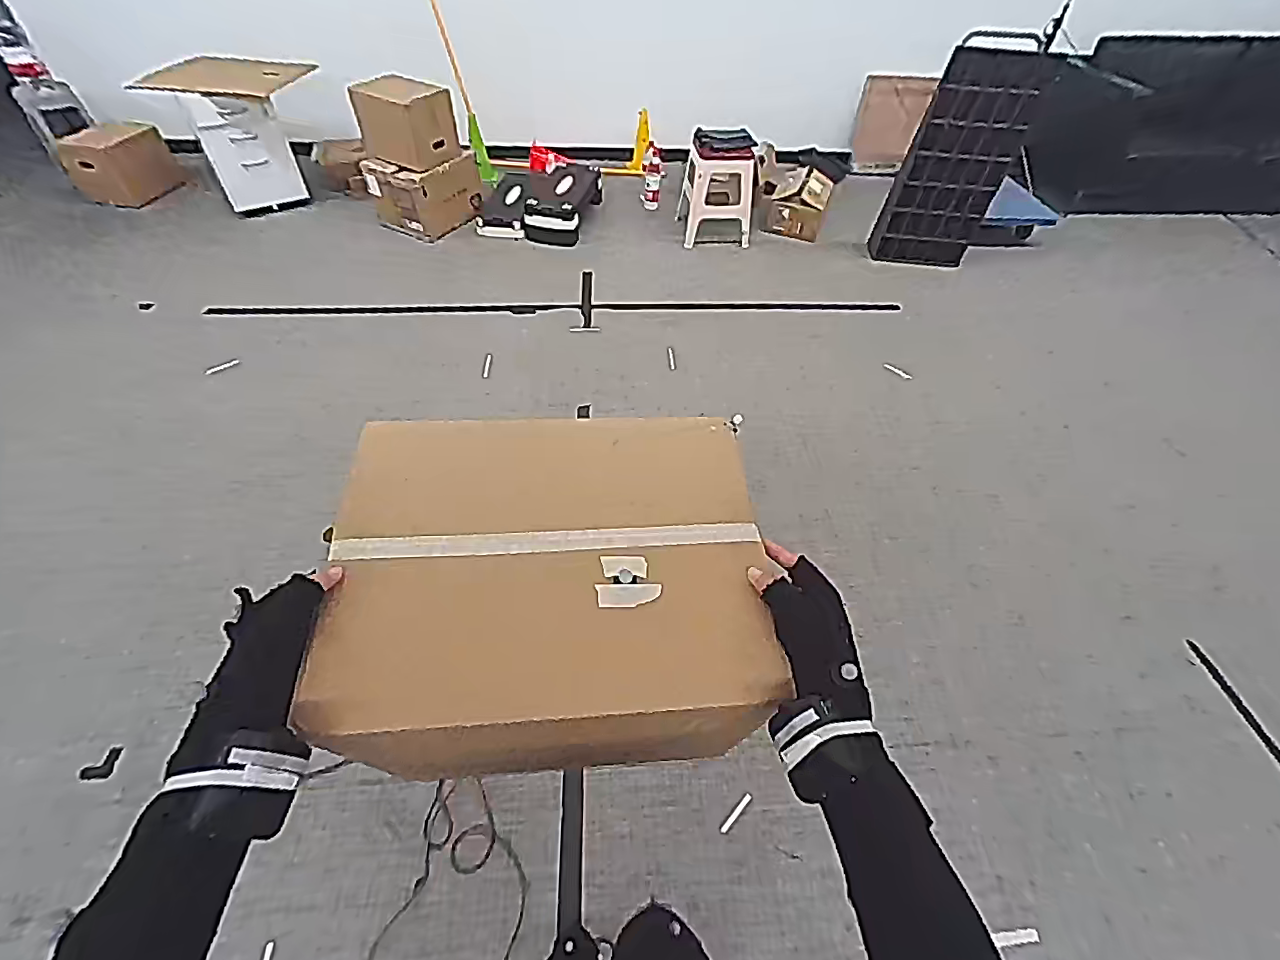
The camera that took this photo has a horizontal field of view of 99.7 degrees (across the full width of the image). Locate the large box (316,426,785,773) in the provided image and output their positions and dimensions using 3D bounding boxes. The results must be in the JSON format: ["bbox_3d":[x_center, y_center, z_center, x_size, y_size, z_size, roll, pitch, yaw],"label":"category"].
[{"bbox_3d":[-0.092,0.151,0.659,0.408,0.320,0.320,-1,57,-7],"label":"large box"}]
